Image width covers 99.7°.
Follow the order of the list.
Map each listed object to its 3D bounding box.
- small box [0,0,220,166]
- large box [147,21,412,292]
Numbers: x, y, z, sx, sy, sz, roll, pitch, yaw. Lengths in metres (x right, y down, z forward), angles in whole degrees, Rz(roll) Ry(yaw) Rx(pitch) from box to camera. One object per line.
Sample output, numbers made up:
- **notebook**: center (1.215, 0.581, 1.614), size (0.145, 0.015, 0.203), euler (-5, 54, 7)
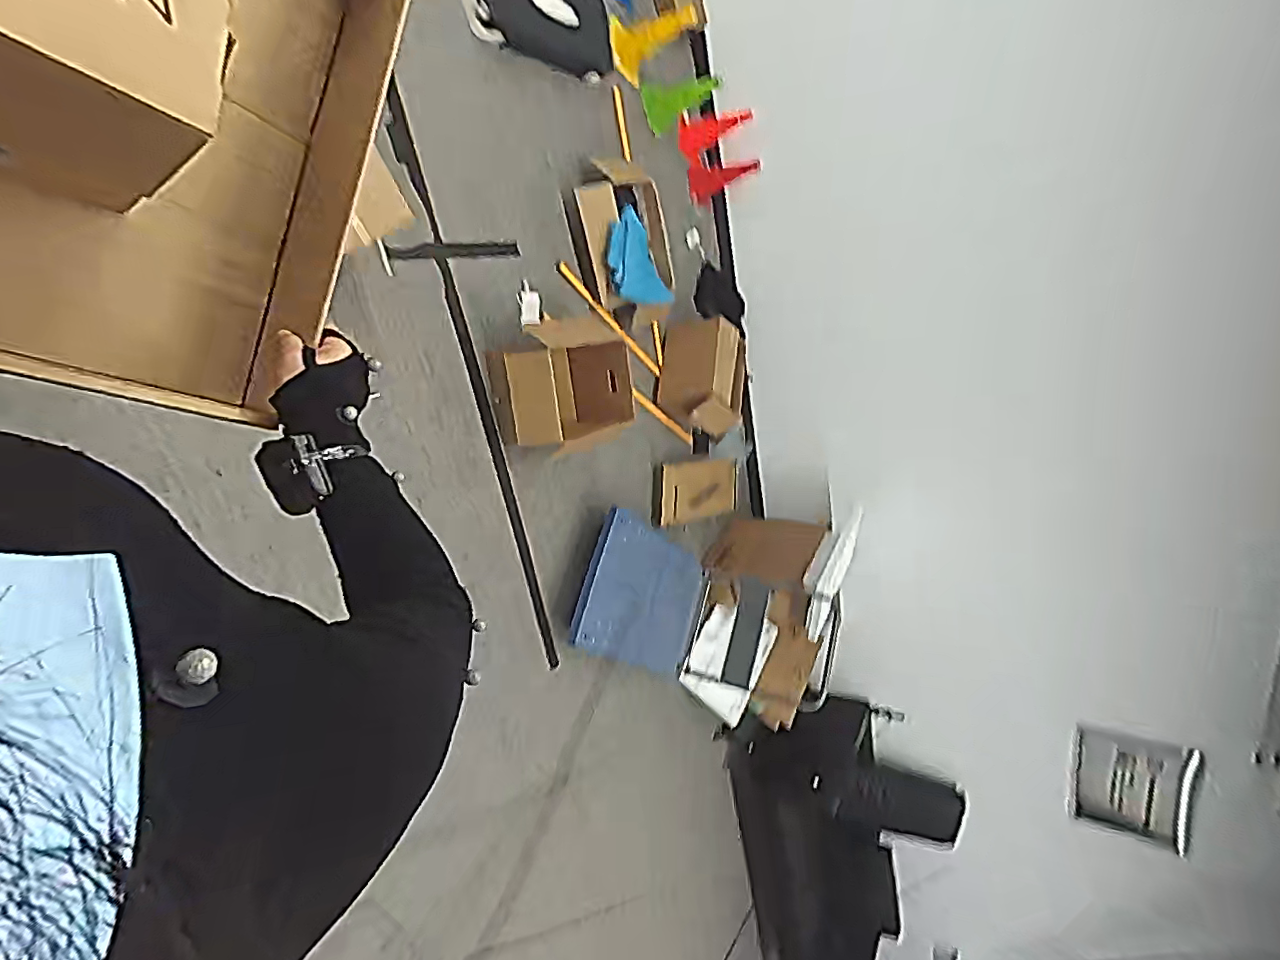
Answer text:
- **small box**: center (-0.335, -0.290, 0.268), size (0.179, 0.176, 0.168), euler (8, 92, -53)
- **large box**: center (-0.810, -0.691, 1.201), size (0.320, 0.320, 0.408), euler (-53, 132, -38)
